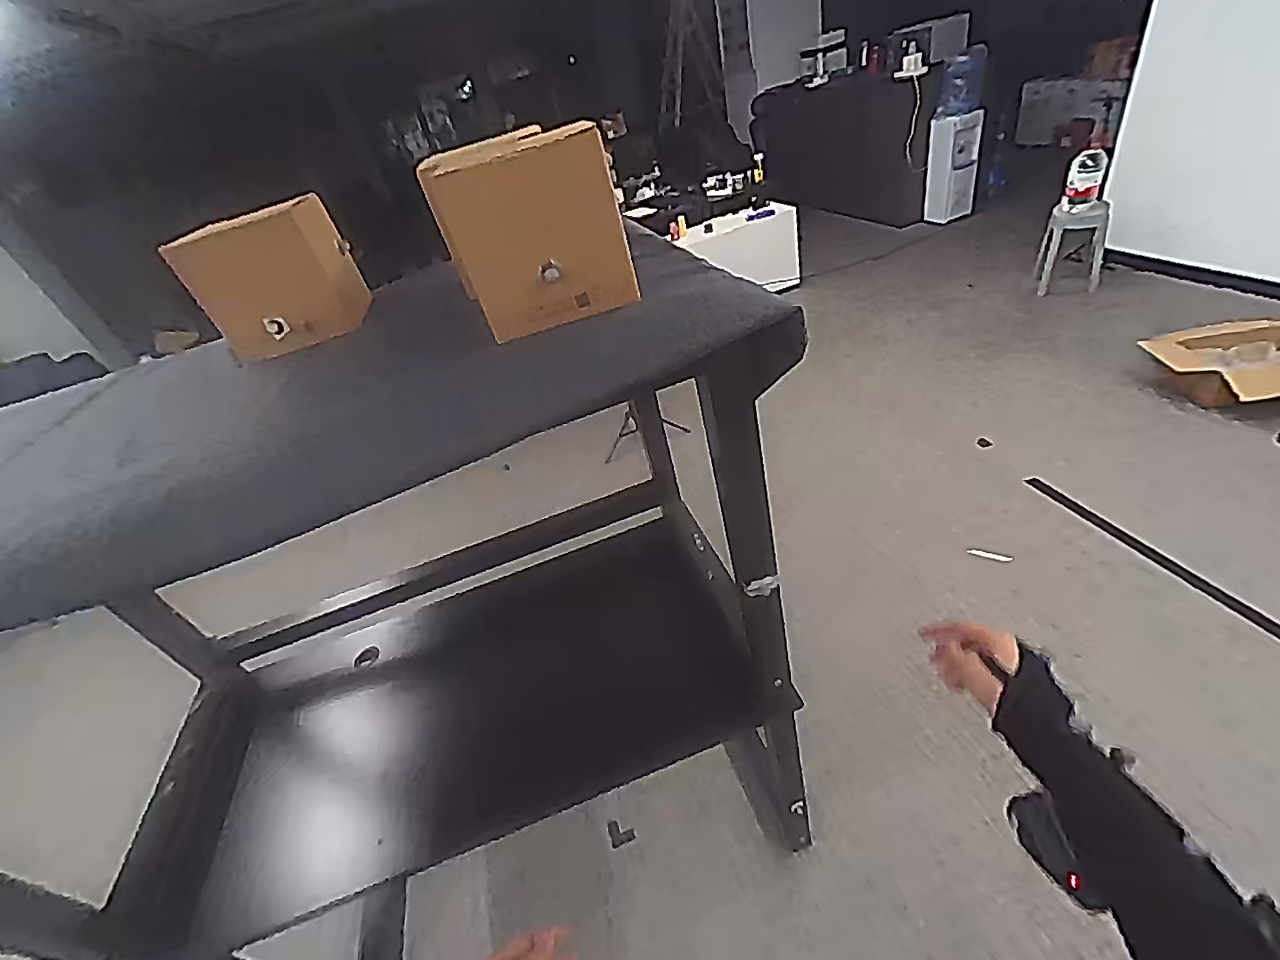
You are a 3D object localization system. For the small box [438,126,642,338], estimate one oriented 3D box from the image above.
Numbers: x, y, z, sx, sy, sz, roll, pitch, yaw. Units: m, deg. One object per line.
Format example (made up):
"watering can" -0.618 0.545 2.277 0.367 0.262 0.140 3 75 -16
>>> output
"small box" -0.104 -0.282 0.615 0.168 0.176 0.179 -17 36 1

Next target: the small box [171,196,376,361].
"small box" -0.512 -0.296 0.793 0.168 0.176 0.179 -21 37 -5

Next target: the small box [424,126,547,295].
"small box" -0.186 -0.386 0.782 0.168 0.176 0.179 -17 38 0
